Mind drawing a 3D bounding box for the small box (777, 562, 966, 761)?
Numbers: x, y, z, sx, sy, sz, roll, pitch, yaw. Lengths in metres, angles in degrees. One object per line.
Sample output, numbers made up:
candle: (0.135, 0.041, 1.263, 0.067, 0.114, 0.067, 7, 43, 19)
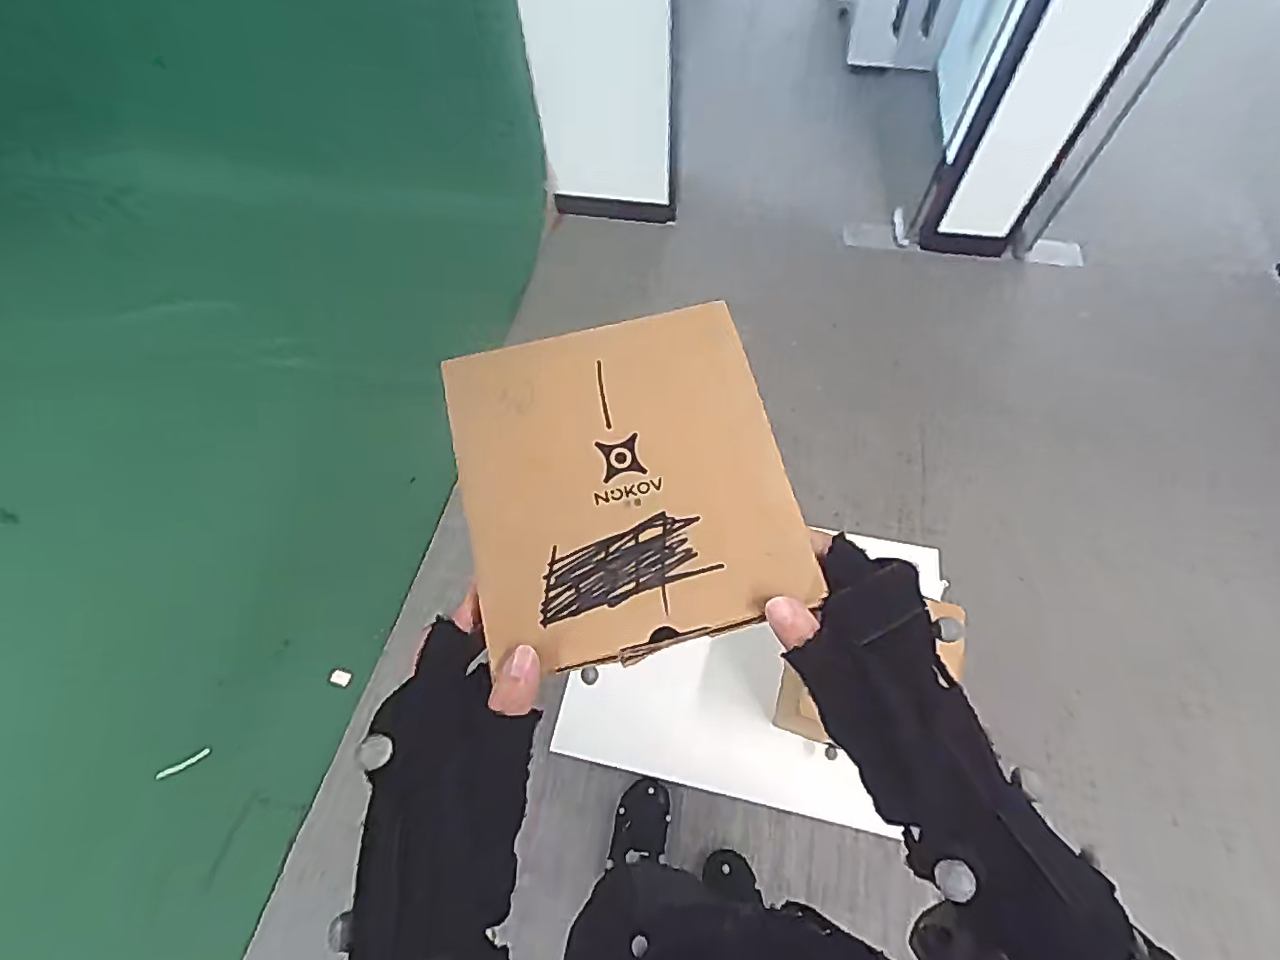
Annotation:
small box: (0.274, 0.228, 0.667, 0.168, 0.176, 0.179, 14, 64, 12)

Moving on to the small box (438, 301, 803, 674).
small box: (-0.015, 0.016, 0.363, 0.168, 0.176, 0.179, -14, 73, -4)
